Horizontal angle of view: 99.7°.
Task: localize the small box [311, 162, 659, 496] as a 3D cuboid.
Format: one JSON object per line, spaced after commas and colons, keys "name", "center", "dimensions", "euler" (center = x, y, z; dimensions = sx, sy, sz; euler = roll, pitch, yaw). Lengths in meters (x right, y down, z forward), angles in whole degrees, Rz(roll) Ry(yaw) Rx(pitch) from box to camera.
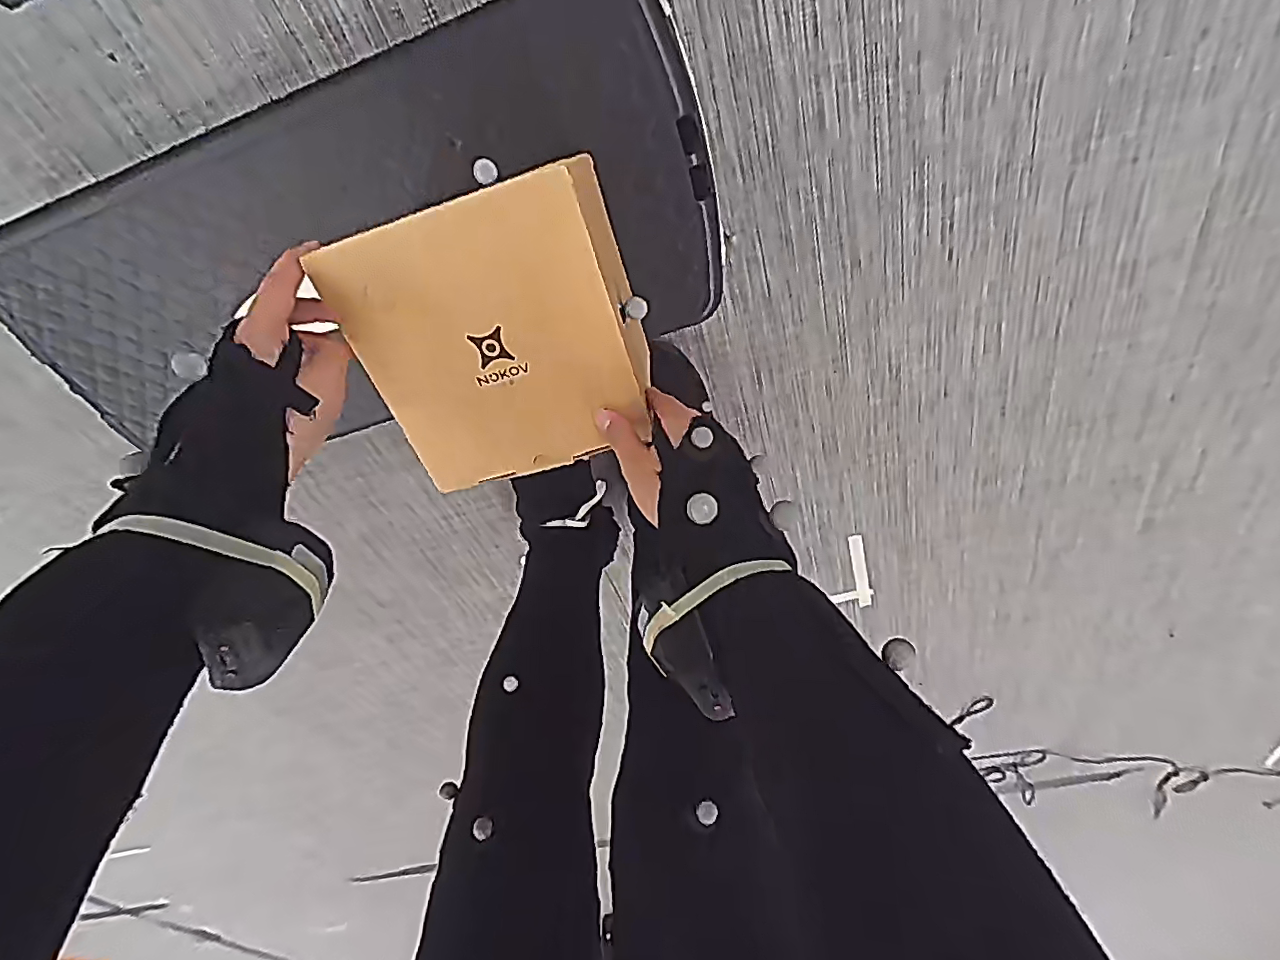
{"name": "small box", "center": [-0.091, -0.120, 0.407], "dimensions": [0.168, 0.176, 0.179], "euler": [-15, 122, 7]}
